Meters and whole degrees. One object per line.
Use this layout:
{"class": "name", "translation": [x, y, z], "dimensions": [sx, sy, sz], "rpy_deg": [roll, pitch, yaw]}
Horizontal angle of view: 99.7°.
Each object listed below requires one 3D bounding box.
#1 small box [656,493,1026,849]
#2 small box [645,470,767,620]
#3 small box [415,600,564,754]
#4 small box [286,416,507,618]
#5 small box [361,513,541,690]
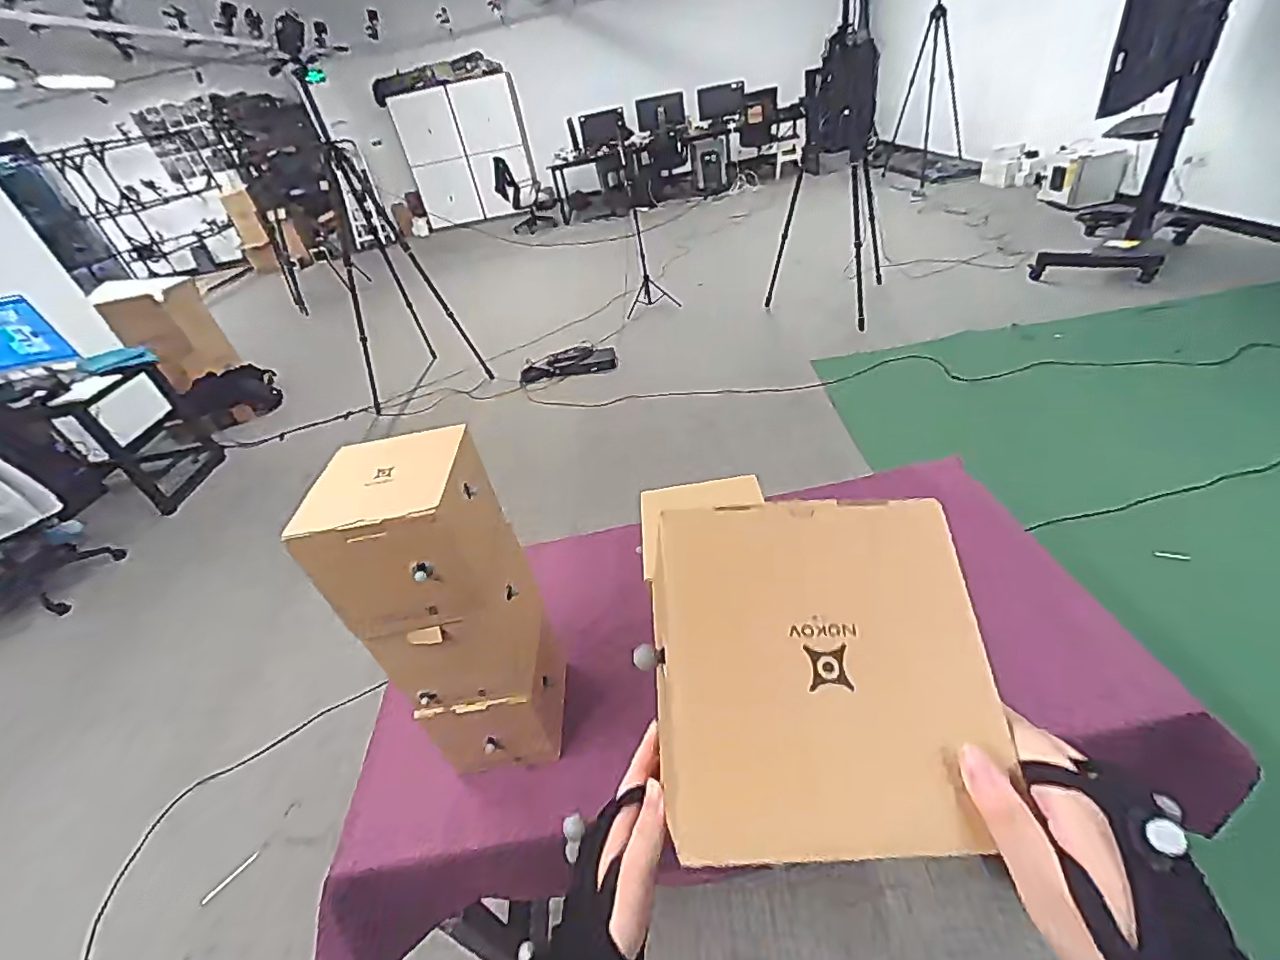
{"class": "small box", "translation": [0.096, 0.120, 0.354], "dimensions": [0.168, 0.176, 0.179], "rpy_deg": [-1, 65, 0]}
{"class": "small box", "translation": [0.099, 0.112, 0.743], "dimensions": [0.168, 0.176, 0.179], "rpy_deg": [-8, 37, 6]}
{"class": "small box", "translation": [-0.221, 0.308, 0.850], "dimensions": [0.168, 0.176, 0.179], "rpy_deg": [-9, 38, 3]}
{"class": "small box", "translation": [-0.271, 0.049, 0.655], "dimensions": [0.168, 0.176, 0.179], "rpy_deg": [-9, 37, 2]}
{"class": "small box", "translation": [-0.245, 0.175, 0.756], "dimensions": [0.168, 0.176, 0.179], "rpy_deg": [-9, 36, 4]}
